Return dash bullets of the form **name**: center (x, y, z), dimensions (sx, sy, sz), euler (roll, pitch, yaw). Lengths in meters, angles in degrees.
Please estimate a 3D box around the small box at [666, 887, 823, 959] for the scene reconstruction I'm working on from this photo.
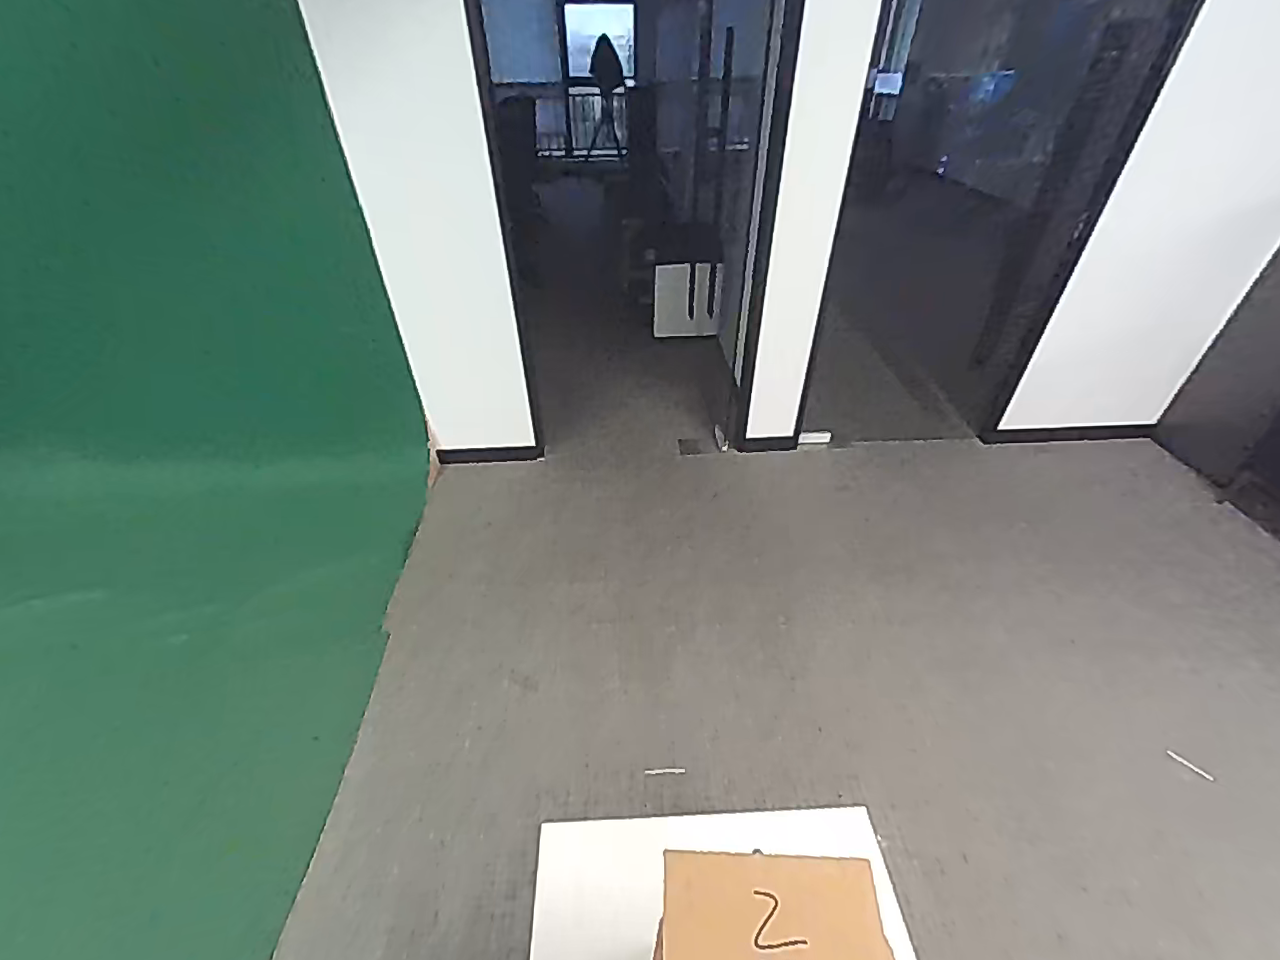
- **small box**: center (0.112, 0.593, 0.606), dimensions (0.168, 0.176, 0.179), euler (2, 39, 3)
